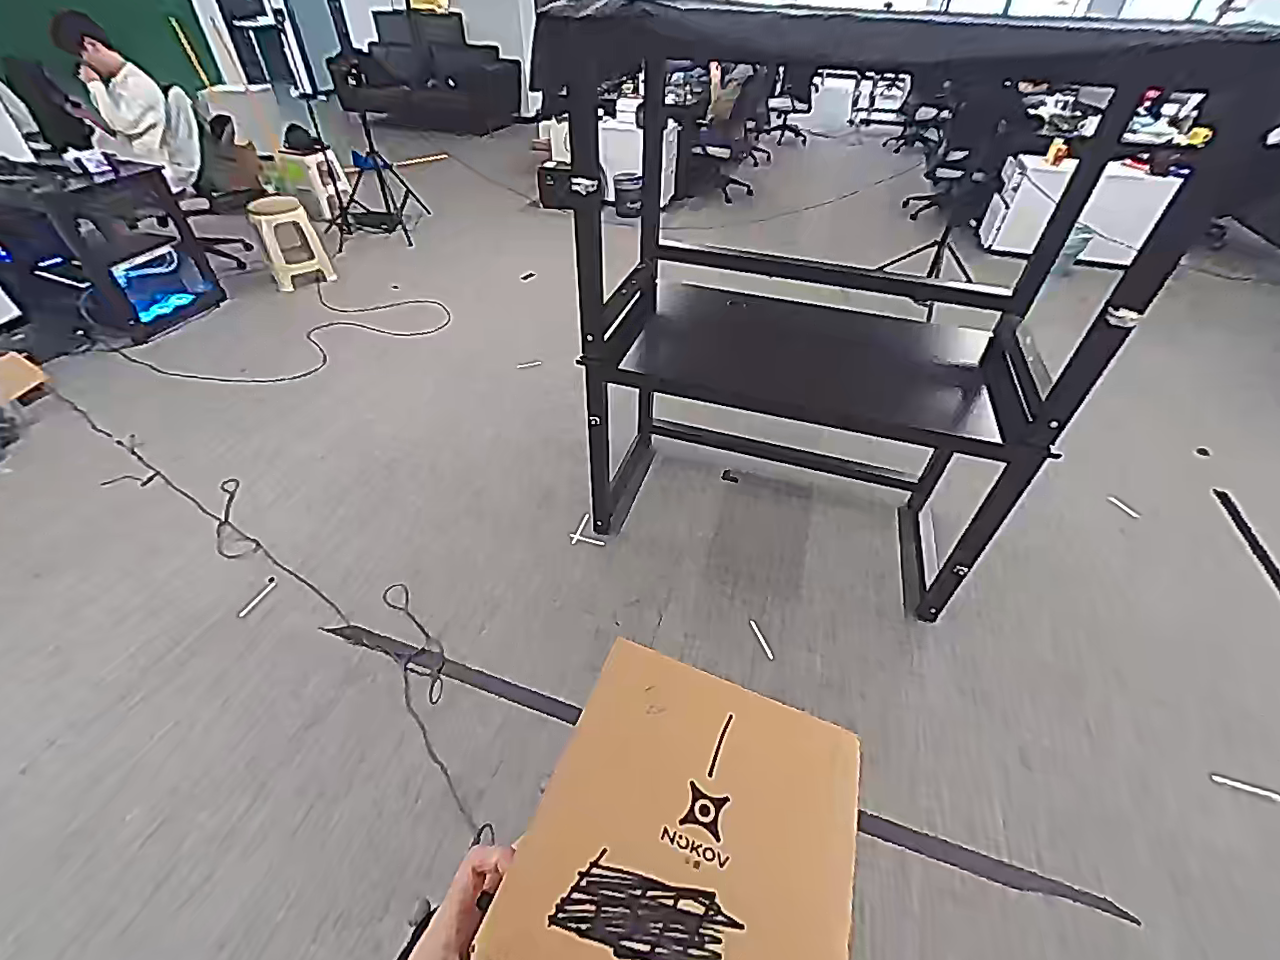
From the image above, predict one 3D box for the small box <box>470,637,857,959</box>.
[{"bbox_3d":[0.019,0.241,0.340,0.168,0.176,0.179,19,42,10],"label":"small box"}]
